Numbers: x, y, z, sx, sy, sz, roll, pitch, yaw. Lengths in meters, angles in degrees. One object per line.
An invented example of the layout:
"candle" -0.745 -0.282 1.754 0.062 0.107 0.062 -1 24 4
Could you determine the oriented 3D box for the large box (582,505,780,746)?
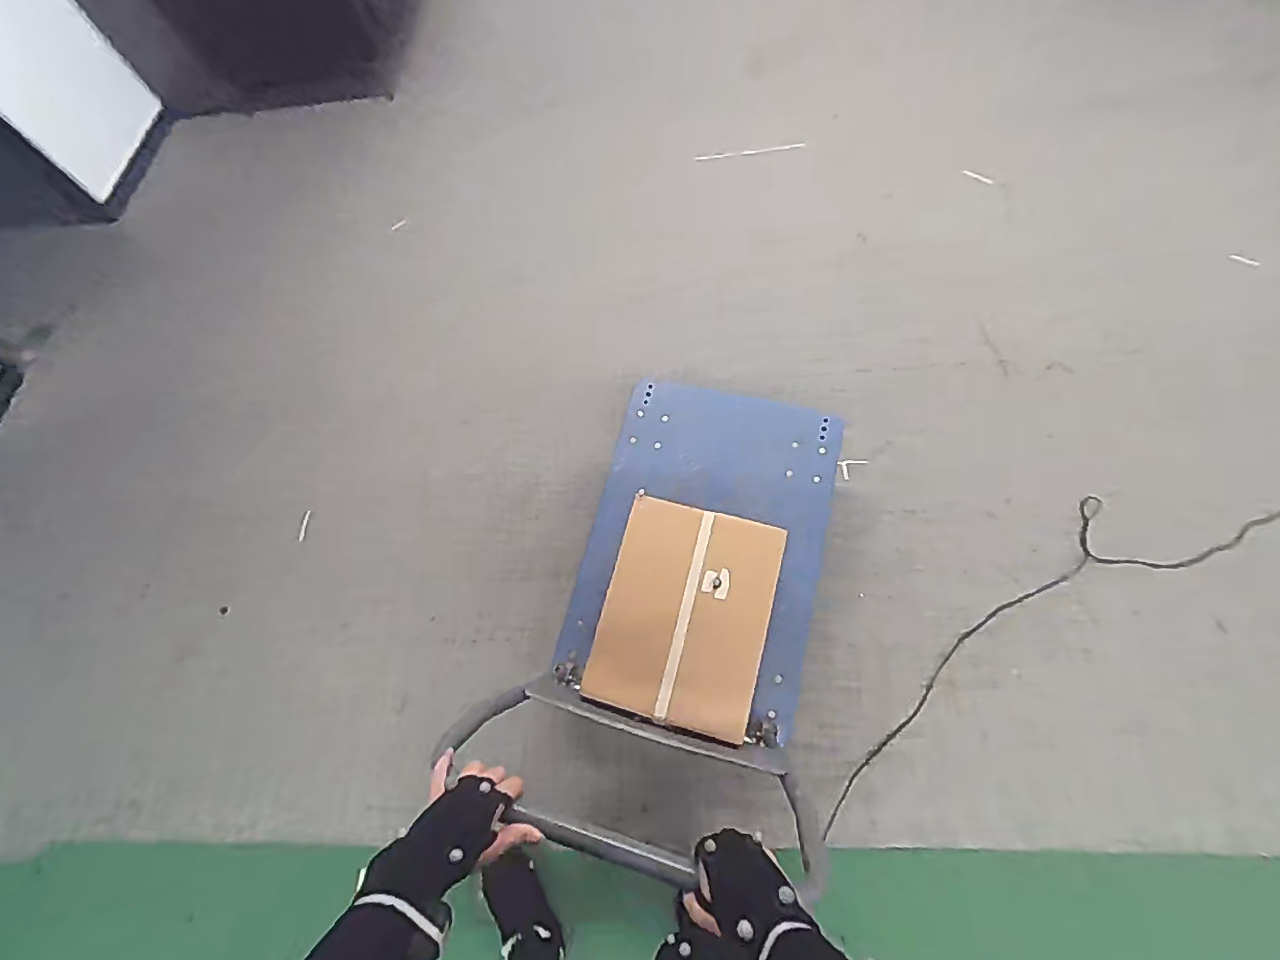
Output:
"large box" 0.101 0.314 1.193 0.320 0.320 0.408 14 74 11
